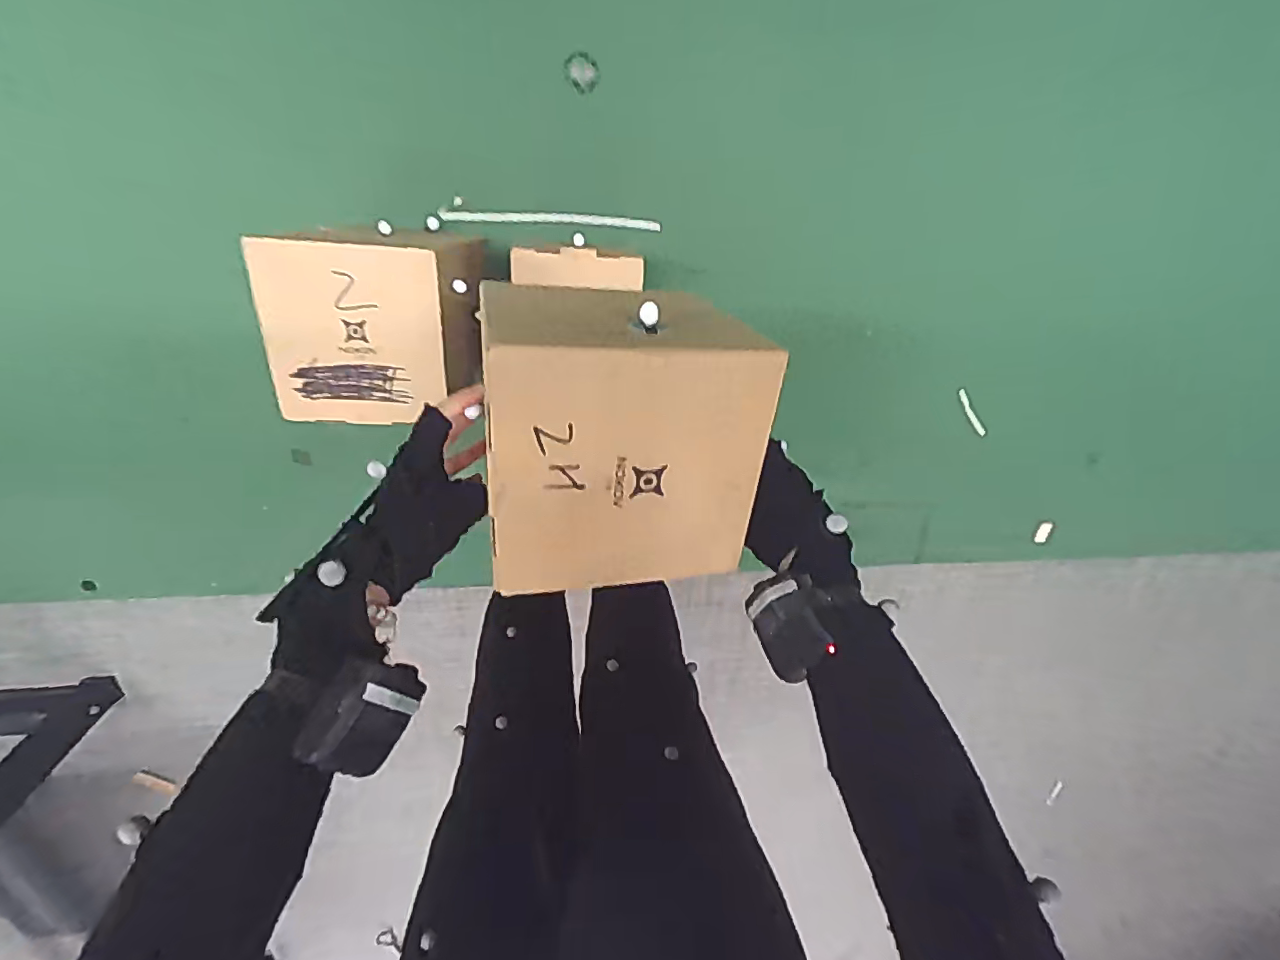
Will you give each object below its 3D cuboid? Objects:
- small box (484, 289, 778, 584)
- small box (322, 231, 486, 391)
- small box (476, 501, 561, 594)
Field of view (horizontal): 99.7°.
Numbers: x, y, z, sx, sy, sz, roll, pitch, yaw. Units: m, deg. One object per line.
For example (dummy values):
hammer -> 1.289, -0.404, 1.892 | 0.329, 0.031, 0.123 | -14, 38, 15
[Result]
small box -> -0.025, -0.043, 0.414 | 0.179, 0.176, 0.168 | -2, 120, -14
small box -> -0.308, -0.238, 0.748 | 0.168, 0.176, 0.179 | 2, 116, -8
small box -> -0.156, 0.058, 0.935 | 0.179, 0.176, 0.168 | 43, 115, -4
